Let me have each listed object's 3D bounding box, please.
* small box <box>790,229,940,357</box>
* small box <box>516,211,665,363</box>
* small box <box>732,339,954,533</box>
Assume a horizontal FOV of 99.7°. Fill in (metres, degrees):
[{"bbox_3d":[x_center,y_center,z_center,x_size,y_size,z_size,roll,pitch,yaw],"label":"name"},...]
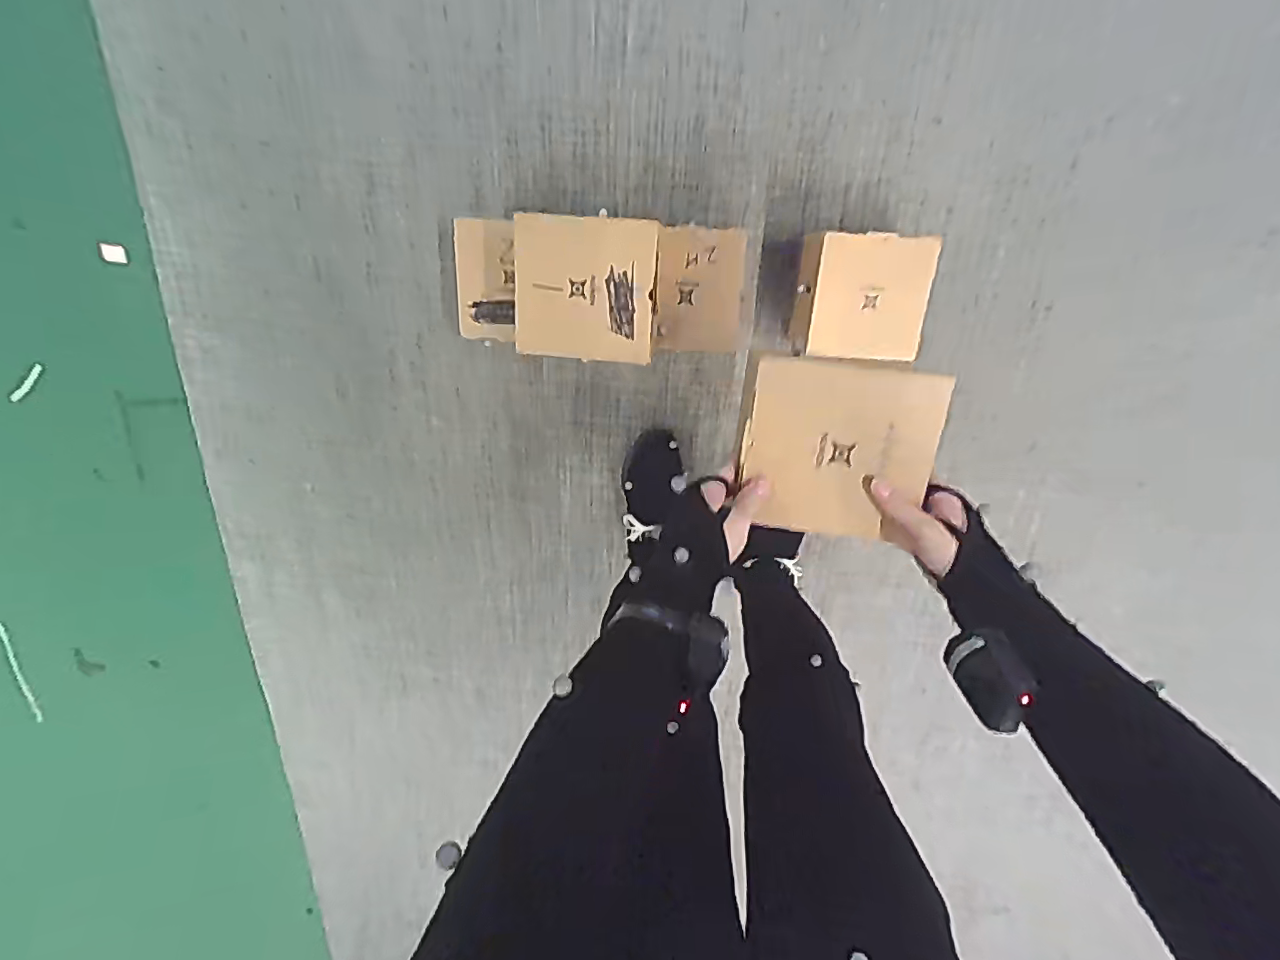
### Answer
[{"bbox_3d":[0.344,-0.298,0.868,0.168,0.176,0.179,4,110,3],"label":"small box"},{"bbox_3d":[-0.060,-0.260,0.733,0.179,0.176,0.168,5,110,3],"label":"small box"},{"bbox_3d":[0.198,-0.060,0.590,0.179,0.176,0.168,8,108,6],"label":"small box"}]
